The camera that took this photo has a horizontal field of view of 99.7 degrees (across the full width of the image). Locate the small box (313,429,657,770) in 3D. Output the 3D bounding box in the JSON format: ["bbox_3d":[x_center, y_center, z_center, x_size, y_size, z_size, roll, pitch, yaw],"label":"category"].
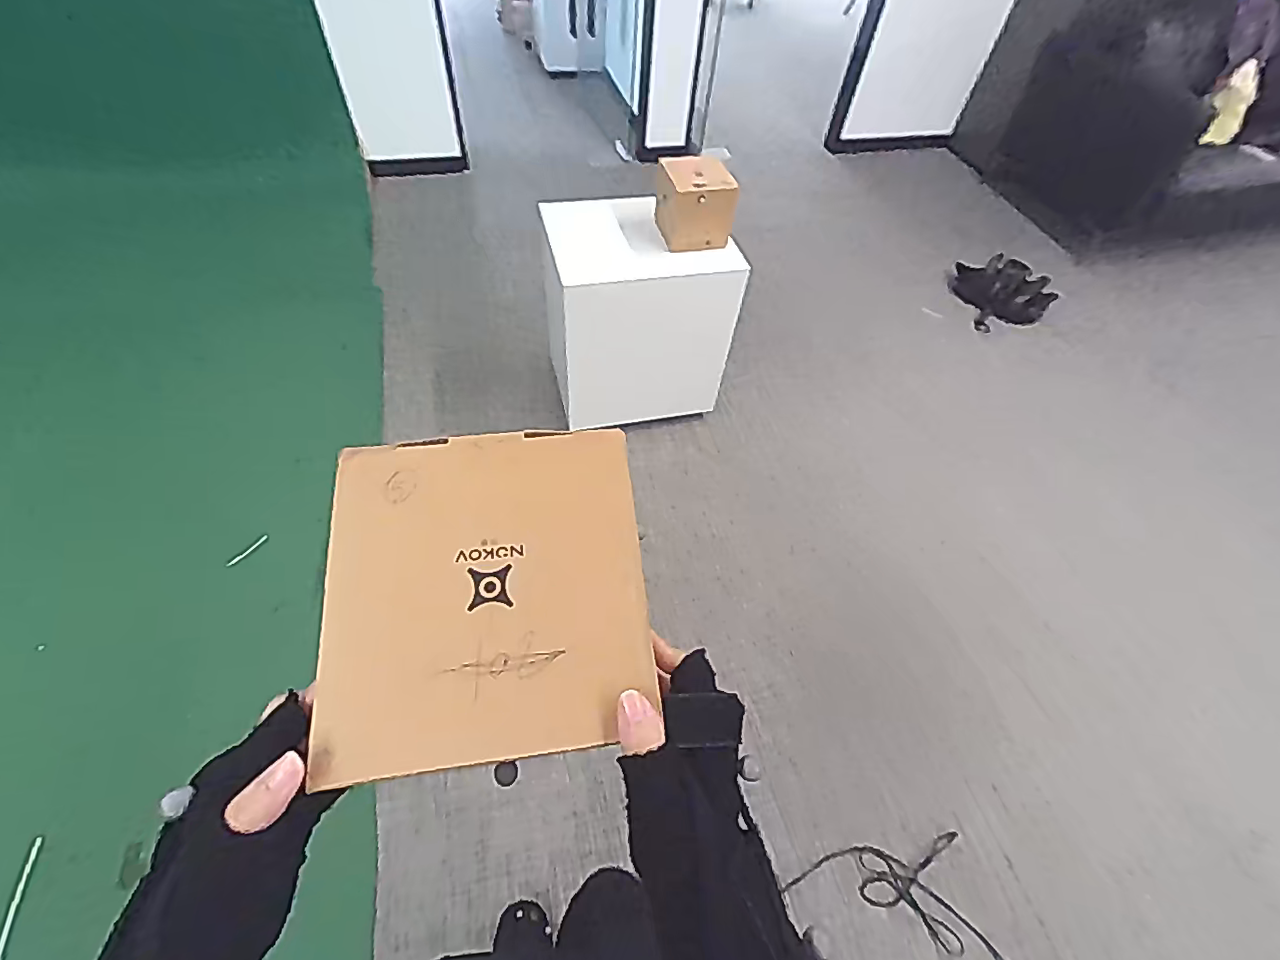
[{"bbox_3d":[-0.088,0.085,0.367,0.168,0.176,0.179,-5,67,-7],"label":"small box"}]

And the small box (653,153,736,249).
[{"bbox_3d":[0.138,-0.749,1.454,0.168,0.176,0.179,-11,56,-11],"label":"small box"}]
